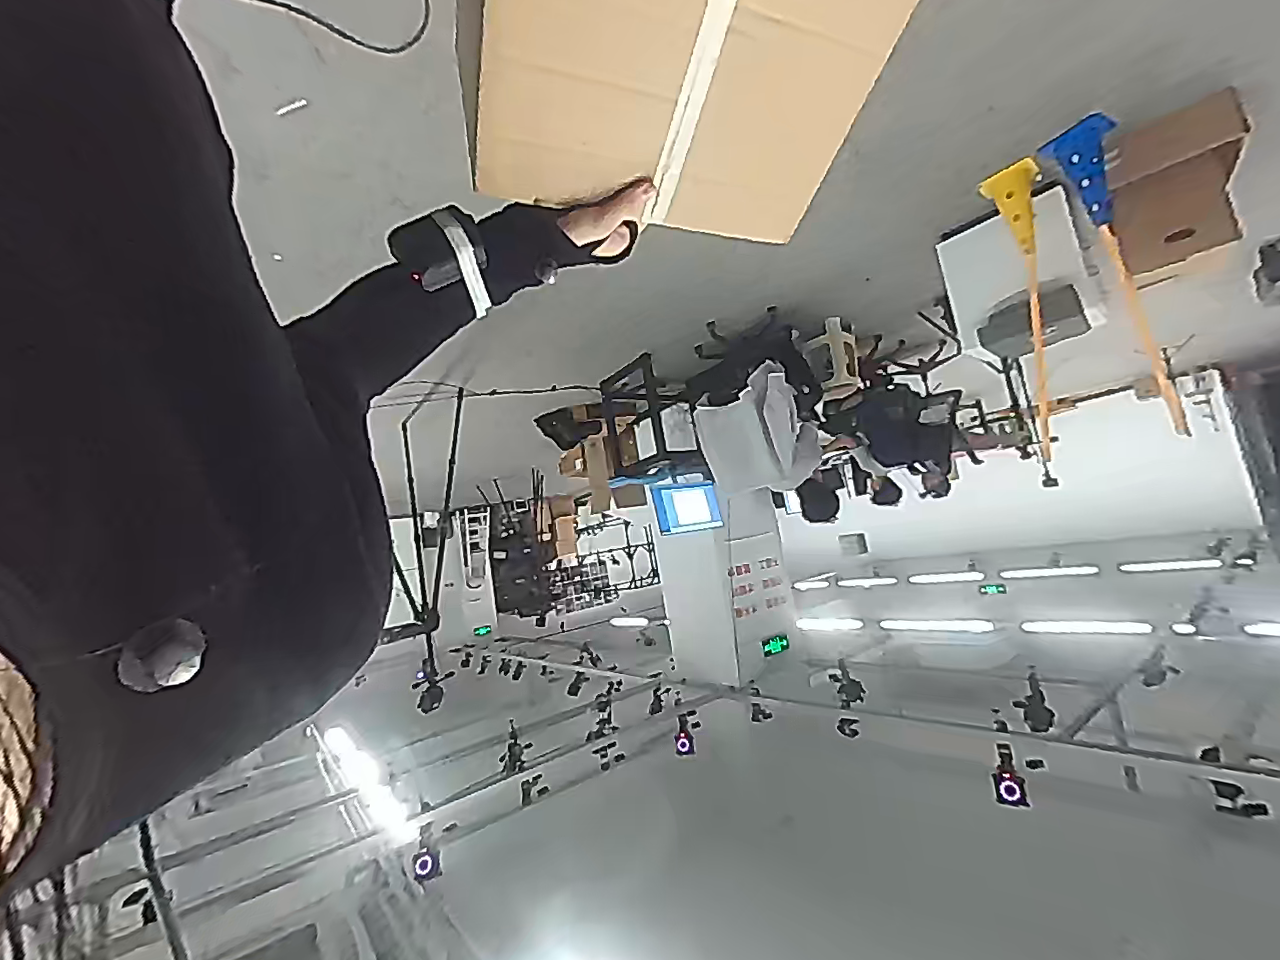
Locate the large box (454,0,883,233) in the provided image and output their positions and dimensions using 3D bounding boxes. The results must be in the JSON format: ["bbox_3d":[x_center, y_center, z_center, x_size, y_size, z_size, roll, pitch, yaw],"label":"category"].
[{"bbox_3d":[0.013,-0.487,0.438,0.320,0.320,0.408,-1,145,-22],"label":"large box"}]
